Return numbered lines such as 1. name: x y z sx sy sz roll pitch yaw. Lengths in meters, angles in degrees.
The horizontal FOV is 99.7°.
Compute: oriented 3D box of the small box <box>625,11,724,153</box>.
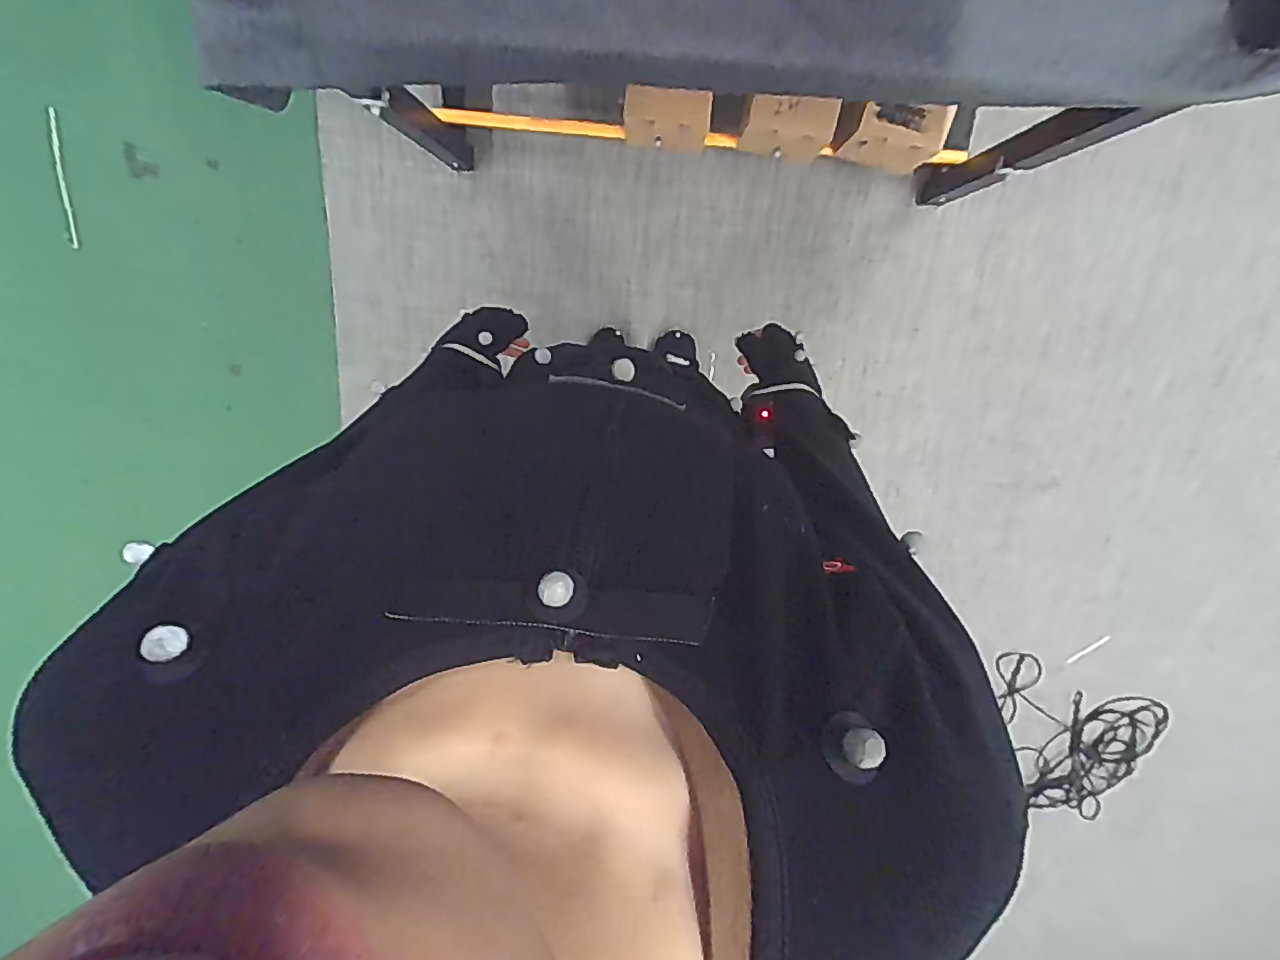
1. small box: 0.063 -0.781 1.077 0.168 0.176 0.179 7 109 0
